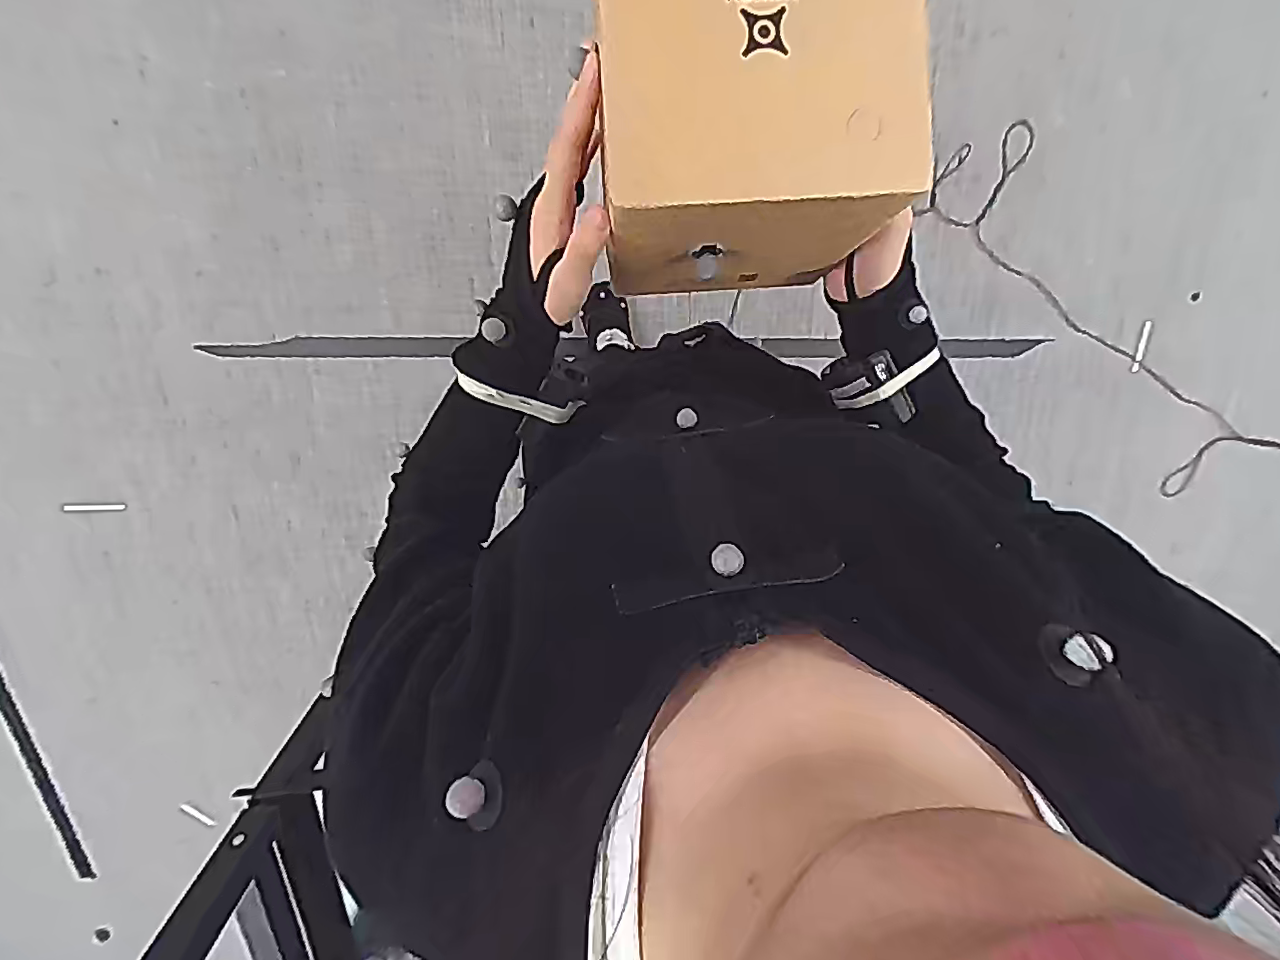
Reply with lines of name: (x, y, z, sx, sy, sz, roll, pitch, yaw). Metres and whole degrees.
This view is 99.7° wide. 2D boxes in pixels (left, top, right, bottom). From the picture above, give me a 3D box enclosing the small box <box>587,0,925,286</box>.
small box: (0.055, -0.233, 0.346, 0.168, 0.176, 0.179, -5, 93, -2)
